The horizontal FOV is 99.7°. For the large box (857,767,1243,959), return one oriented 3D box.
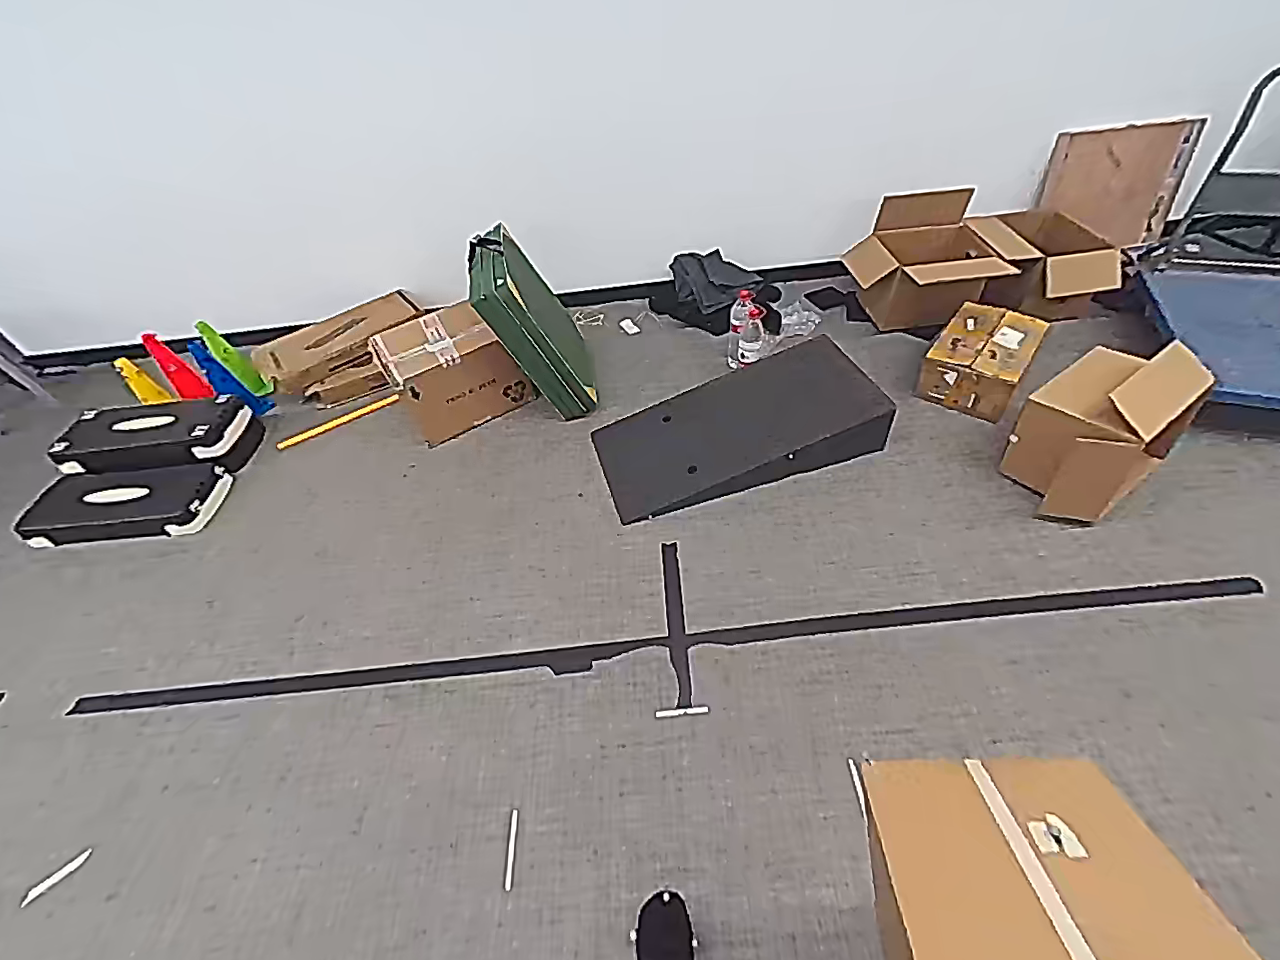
[{"bbox_3d":[0.476,0.620,0.645,0.320,0.320,0.408,-6,10,11],"label":"large box"}]
